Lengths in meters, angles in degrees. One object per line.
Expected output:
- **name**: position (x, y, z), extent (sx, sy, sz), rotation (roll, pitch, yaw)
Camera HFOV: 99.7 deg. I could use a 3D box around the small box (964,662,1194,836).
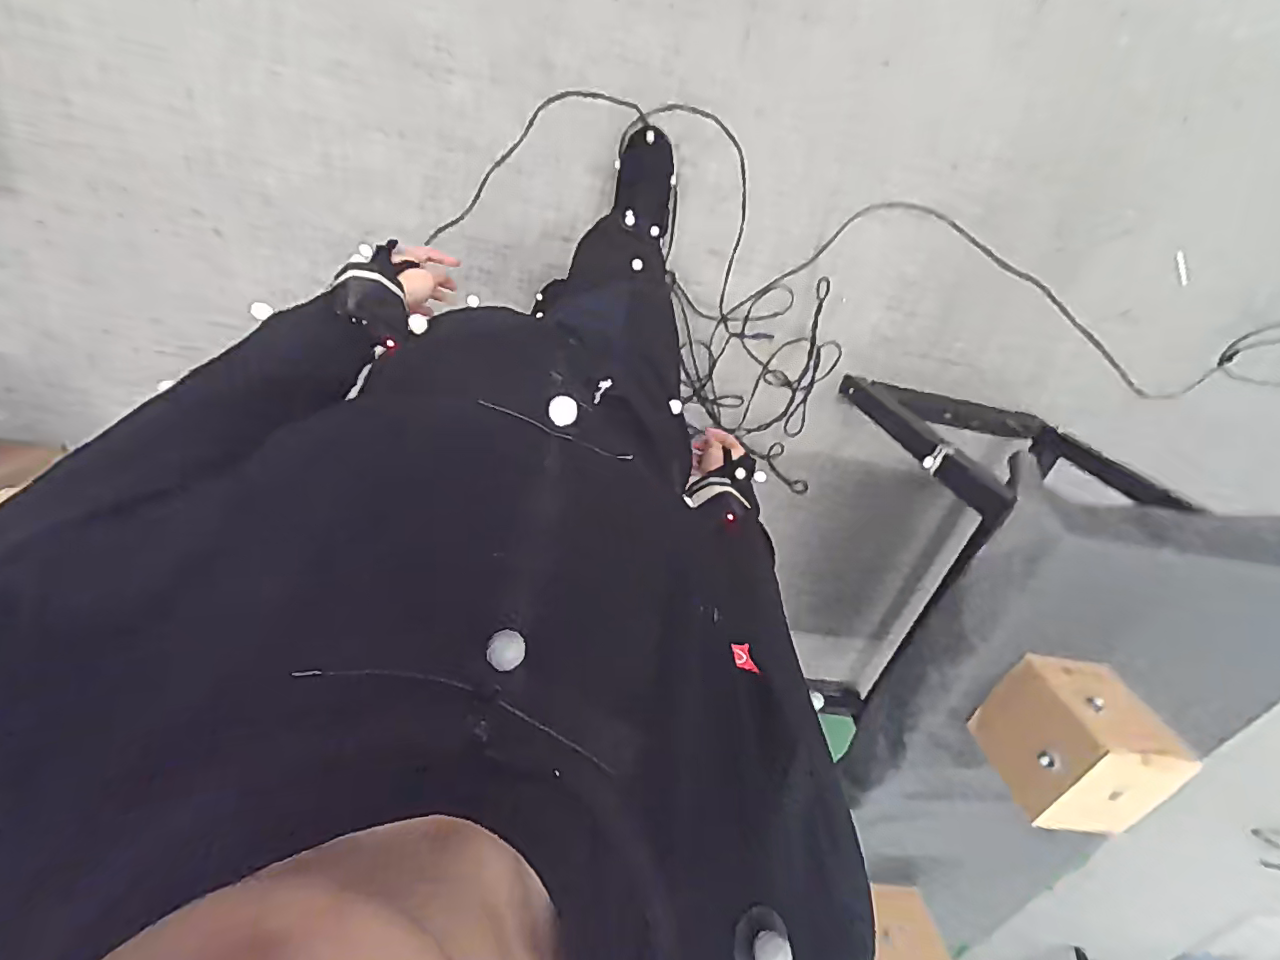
- **small box**: position (0.641, 0.402, 0.819), extent (0.168, 0.176, 0.179), rotation (12, 119, -11)
